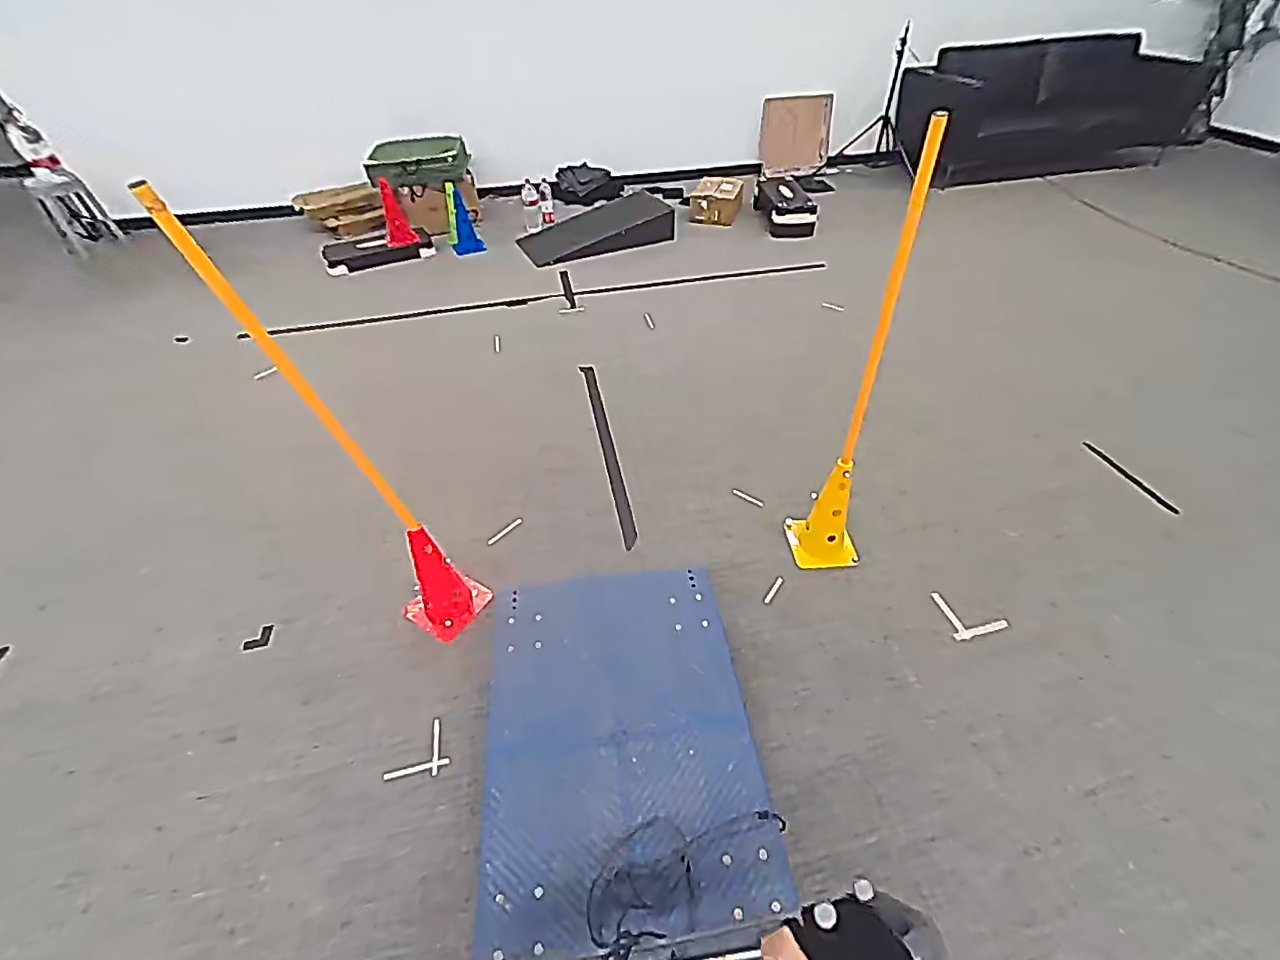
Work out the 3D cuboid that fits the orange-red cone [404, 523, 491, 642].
[{"bbox_3d":[-0.576,0.249,1.507,0.198,0.360,0.199,24,48,23],"label":"orange-red cone"}]
